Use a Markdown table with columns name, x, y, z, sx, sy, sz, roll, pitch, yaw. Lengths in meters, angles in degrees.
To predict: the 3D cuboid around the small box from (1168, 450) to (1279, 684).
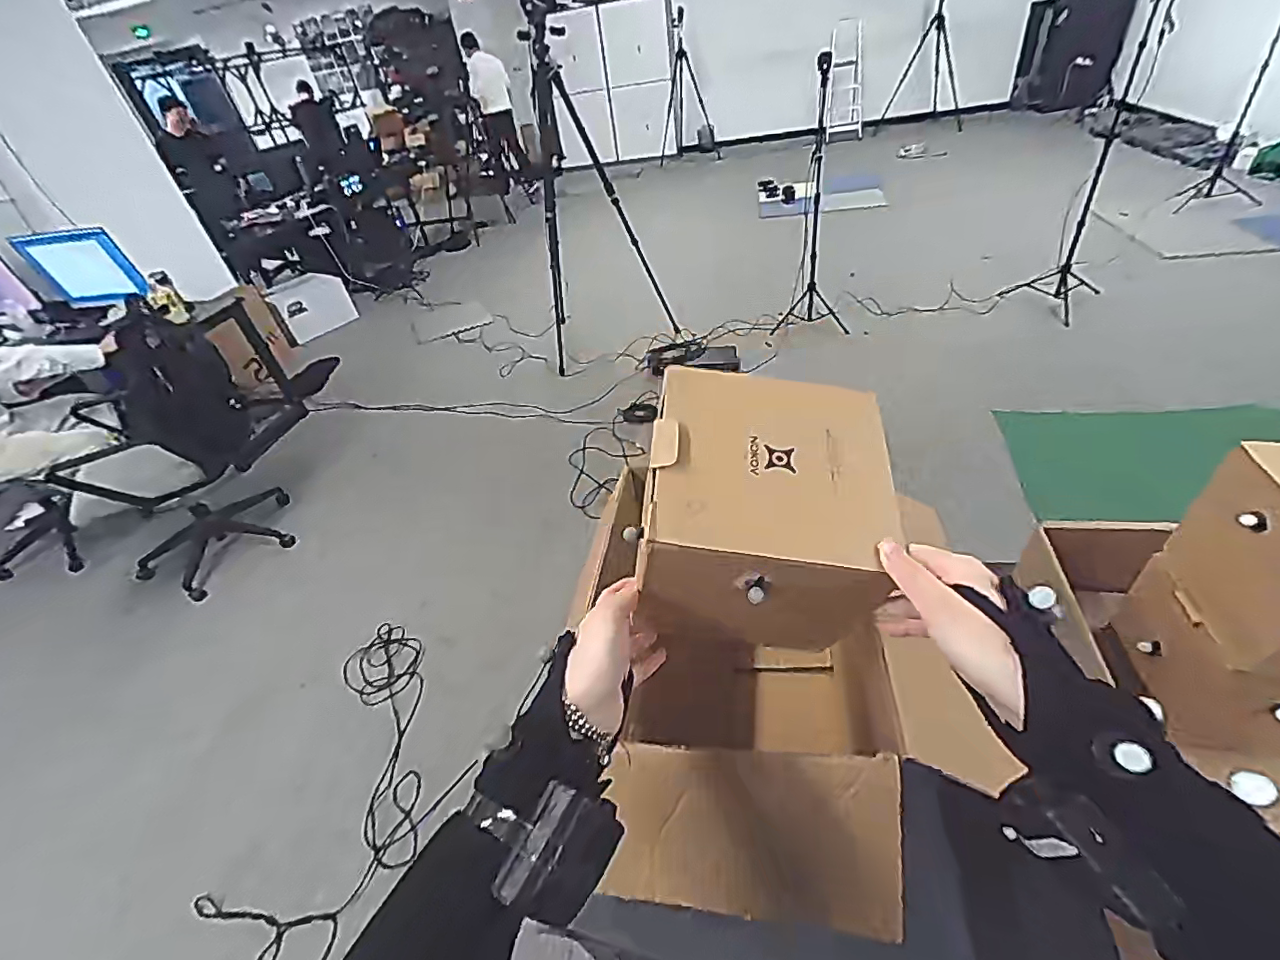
| name | x | y | z | sx | sy | sz | roll | pitch | yaw |
| --- | --- | --- | --- | --- | --- | --- | --- | --- | --- |
| small box | 0.693 | 0.089 | 0.537 | 0.168 | 0.176 | 0.179 | 1 | 43 | 14 |

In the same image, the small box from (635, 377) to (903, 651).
| name | x | y | z | sx | sy | sz | roll | pitch | yaw |
| --- | --- | --- | --- | --- | --- | --- | --- | --- | --- |
| small box | 0.093 | 0.037 | 0.470 | 0.179 | 0.176 | 0.168 | 8 | 55 | -1 |
